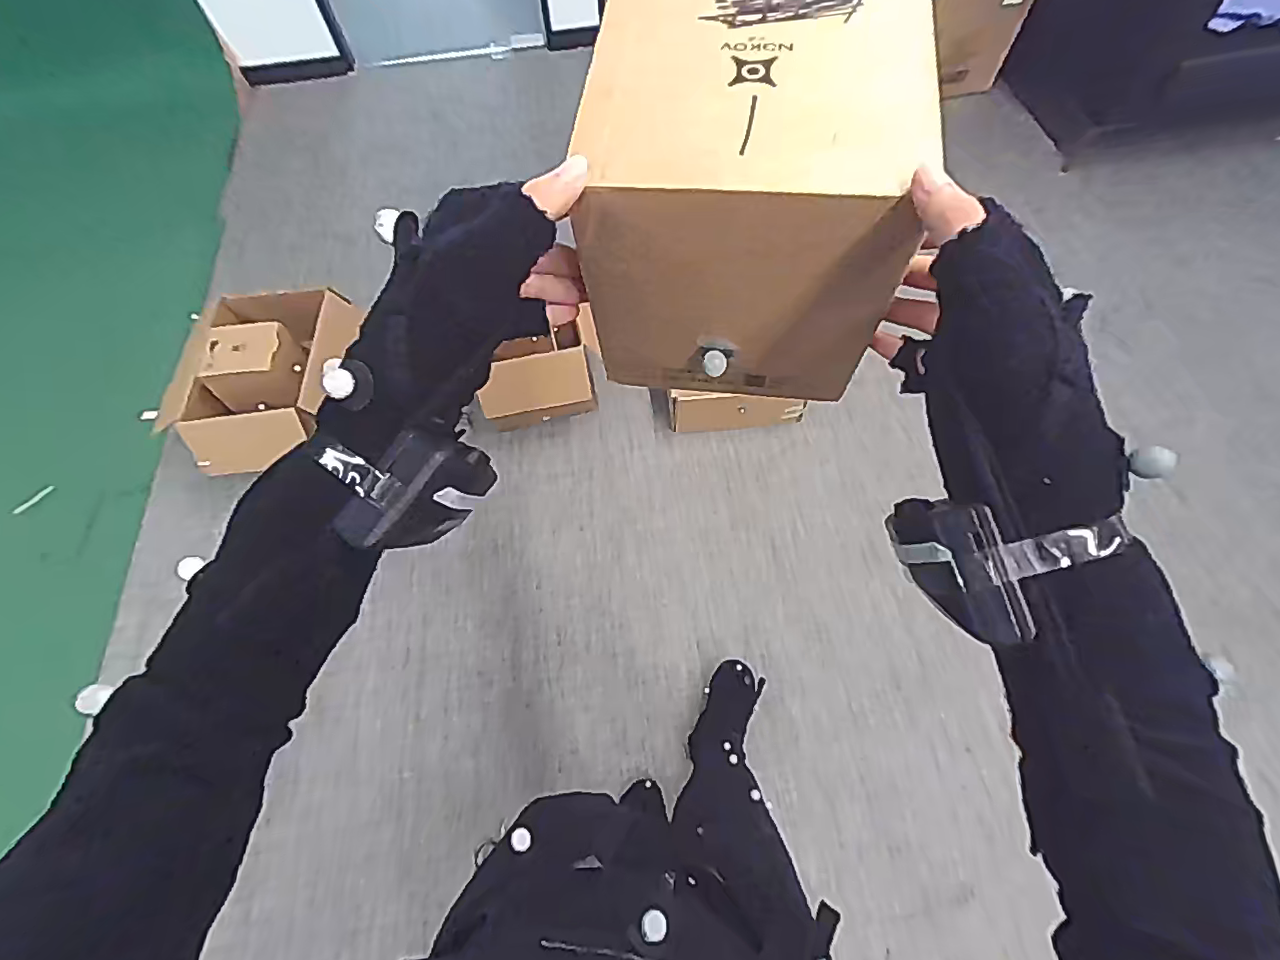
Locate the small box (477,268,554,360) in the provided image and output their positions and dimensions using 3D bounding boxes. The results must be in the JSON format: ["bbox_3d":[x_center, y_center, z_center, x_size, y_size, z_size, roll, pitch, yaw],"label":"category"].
[{"bbox_3d":[-0.343,-0.454,1.506,0.168,0.176,0.179,-13,66,-6],"label":"small box"}]

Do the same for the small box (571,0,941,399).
[{"bbox_3d":[0.065,-0.175,0.342,0.168,0.176,0.179,6,69,7],"label":"small box"}]
